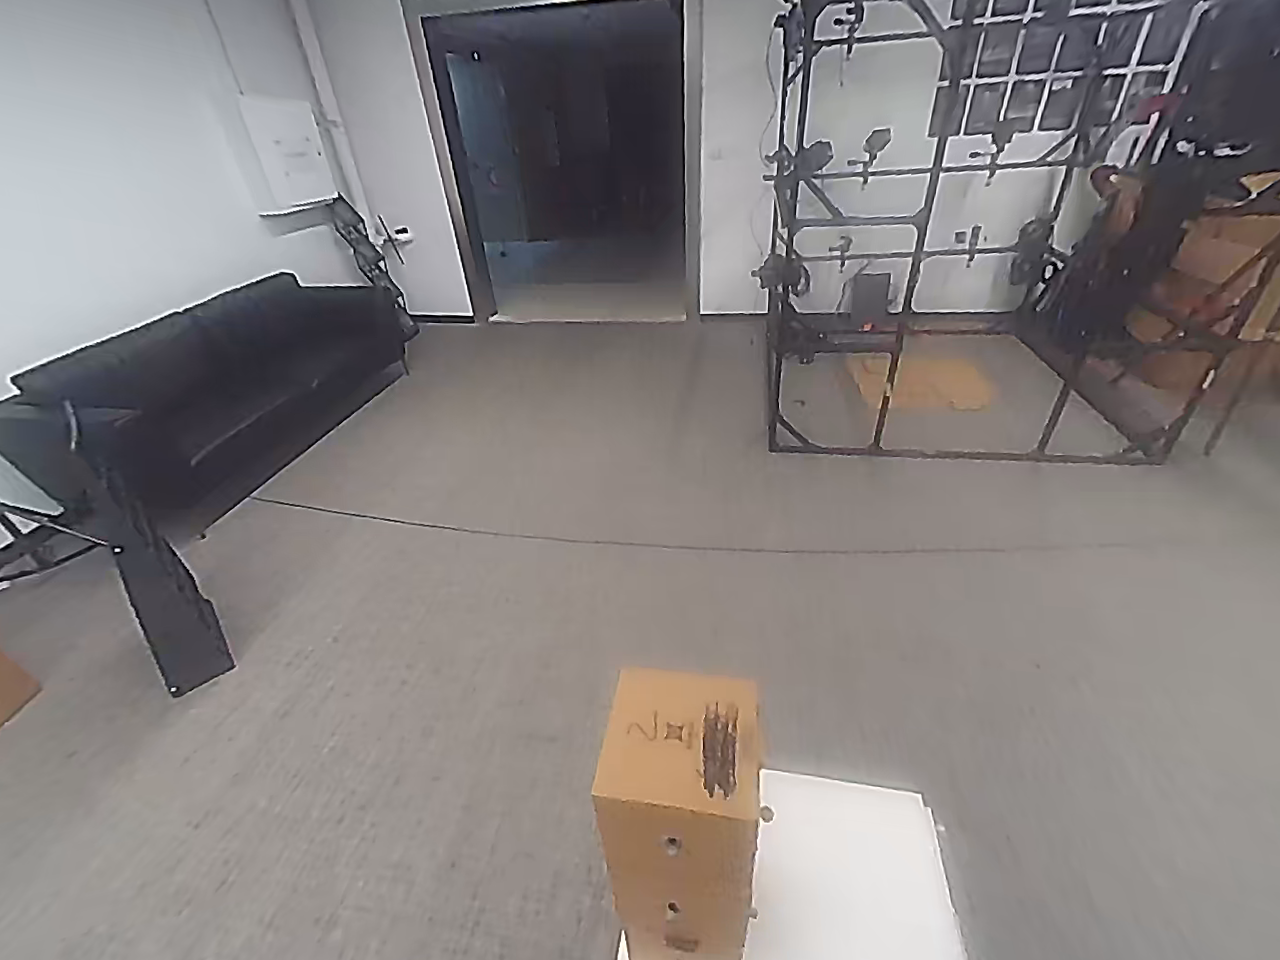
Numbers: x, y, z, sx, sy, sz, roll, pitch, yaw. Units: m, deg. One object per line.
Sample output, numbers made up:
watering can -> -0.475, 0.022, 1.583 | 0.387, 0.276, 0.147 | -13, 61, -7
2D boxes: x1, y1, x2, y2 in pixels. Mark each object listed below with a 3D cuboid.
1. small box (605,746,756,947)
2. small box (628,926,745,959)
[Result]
small box -> 0.063, 0.498, 0.739 | 0.179, 0.176, 0.168 | 3, 34, 12
small box -> 0.077, 0.631, 0.834 | 0.168, 0.176, 0.179 | 2, 34, 11
